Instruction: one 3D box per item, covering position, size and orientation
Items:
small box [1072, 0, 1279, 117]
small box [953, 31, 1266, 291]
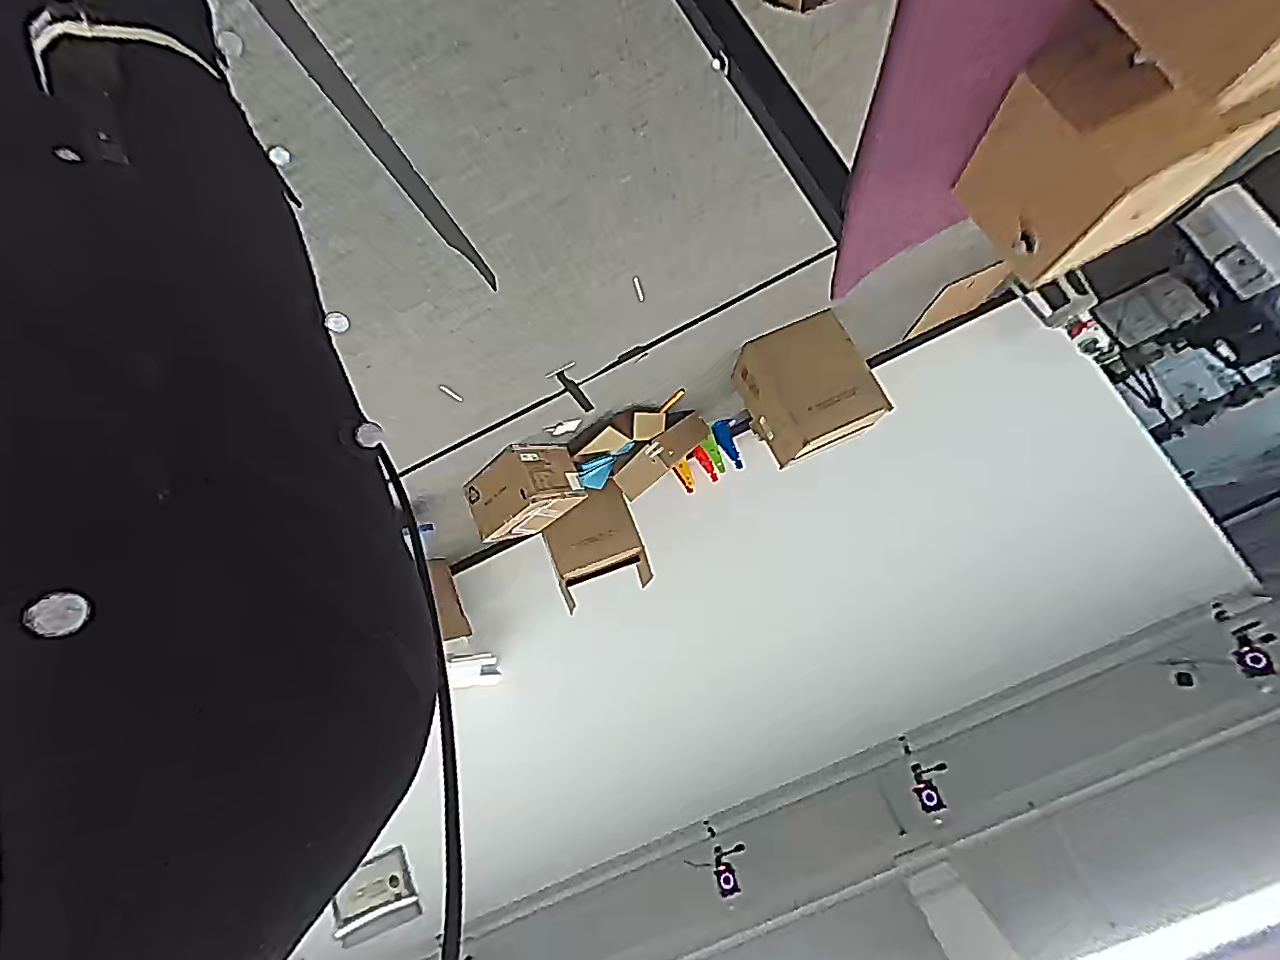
[{"bbox_3d":[0.471,-0.411,0.371,0.168,0.176,0.179,-27,166,2],"label":"small box"},{"bbox_3d":[0.496,-0.359,0.611,0.168,0.176,0.179,-28,166,2],"label":"small box"}]
